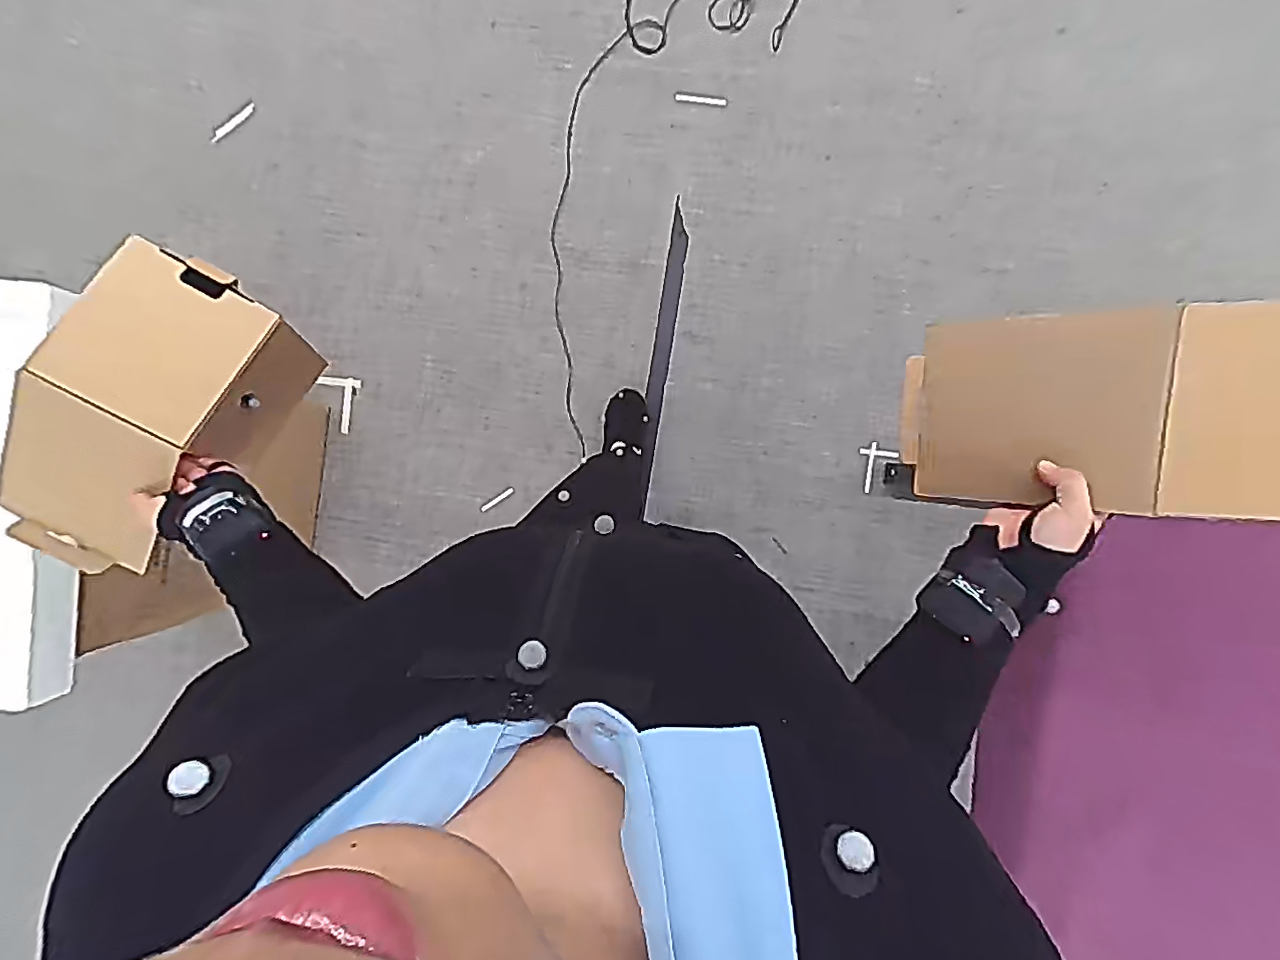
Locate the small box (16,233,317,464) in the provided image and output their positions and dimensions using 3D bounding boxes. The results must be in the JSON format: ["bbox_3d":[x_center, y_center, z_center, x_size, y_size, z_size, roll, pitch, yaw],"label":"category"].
[{"bbox_3d":[-0.518,-0.135,0.631,0.168,0.176,0.179,30,77,-10],"label":"small box"}]
